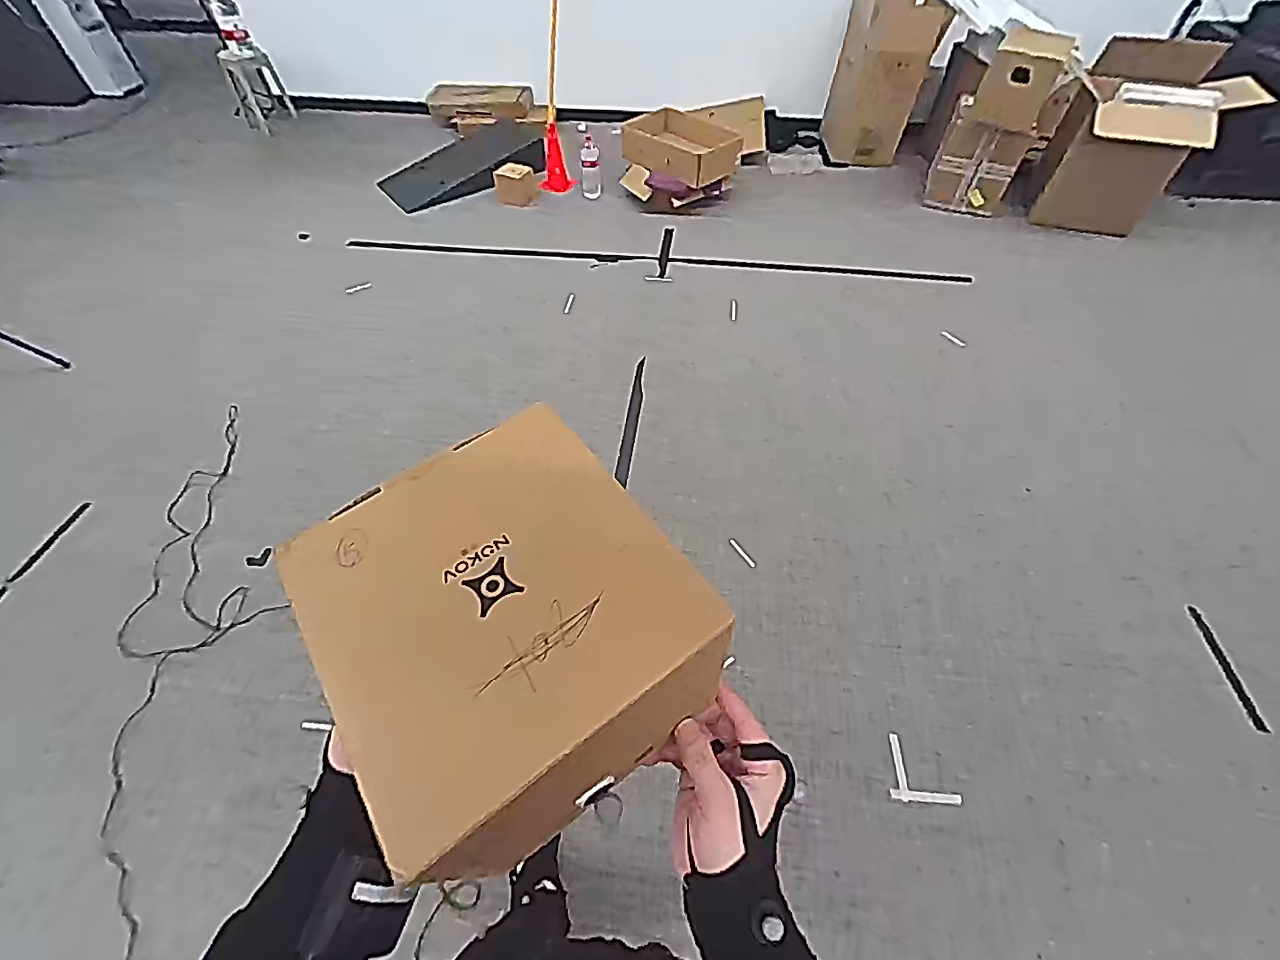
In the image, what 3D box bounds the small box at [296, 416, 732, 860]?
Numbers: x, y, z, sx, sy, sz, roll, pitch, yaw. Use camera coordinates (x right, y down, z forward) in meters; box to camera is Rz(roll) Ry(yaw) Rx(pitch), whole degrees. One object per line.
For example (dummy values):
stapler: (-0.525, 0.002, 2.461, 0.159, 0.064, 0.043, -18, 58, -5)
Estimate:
small box: (-0.066, 0.100, 0.338, 0.168, 0.176, 0.179, -33, 60, -17)
